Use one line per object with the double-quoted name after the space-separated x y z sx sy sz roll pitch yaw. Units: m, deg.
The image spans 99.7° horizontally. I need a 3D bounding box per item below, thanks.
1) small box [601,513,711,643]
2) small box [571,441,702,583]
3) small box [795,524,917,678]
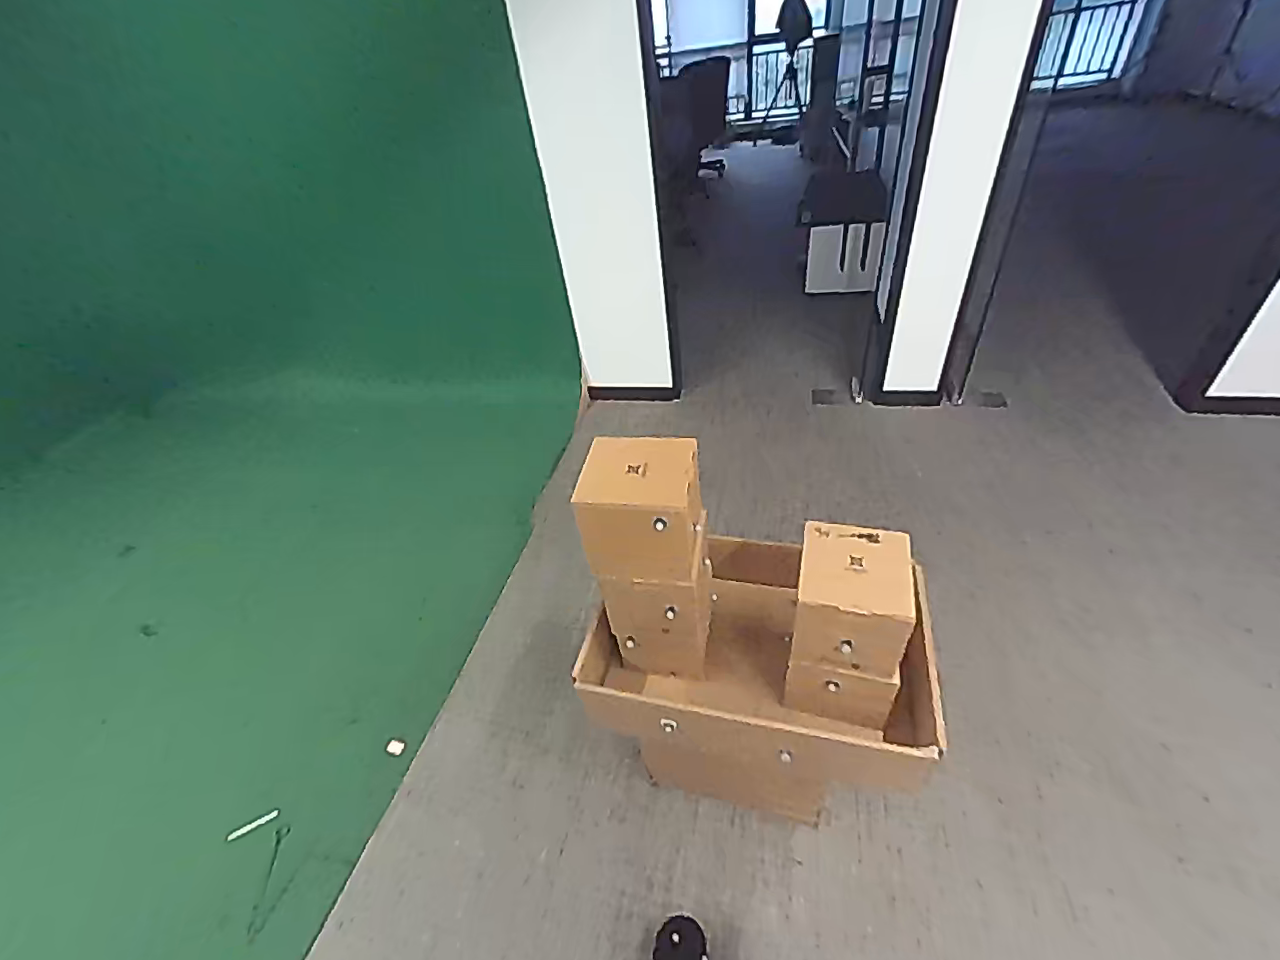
0.039 0.176 0.988 0.168 0.176 0.179 2 41 13 "small box"
0.005 0.053 0.887 0.179 0.176 0.168 2 41 11 "small box"
0.351 0.200 0.896 0.168 0.176 0.179 6 43 17 "small box"
